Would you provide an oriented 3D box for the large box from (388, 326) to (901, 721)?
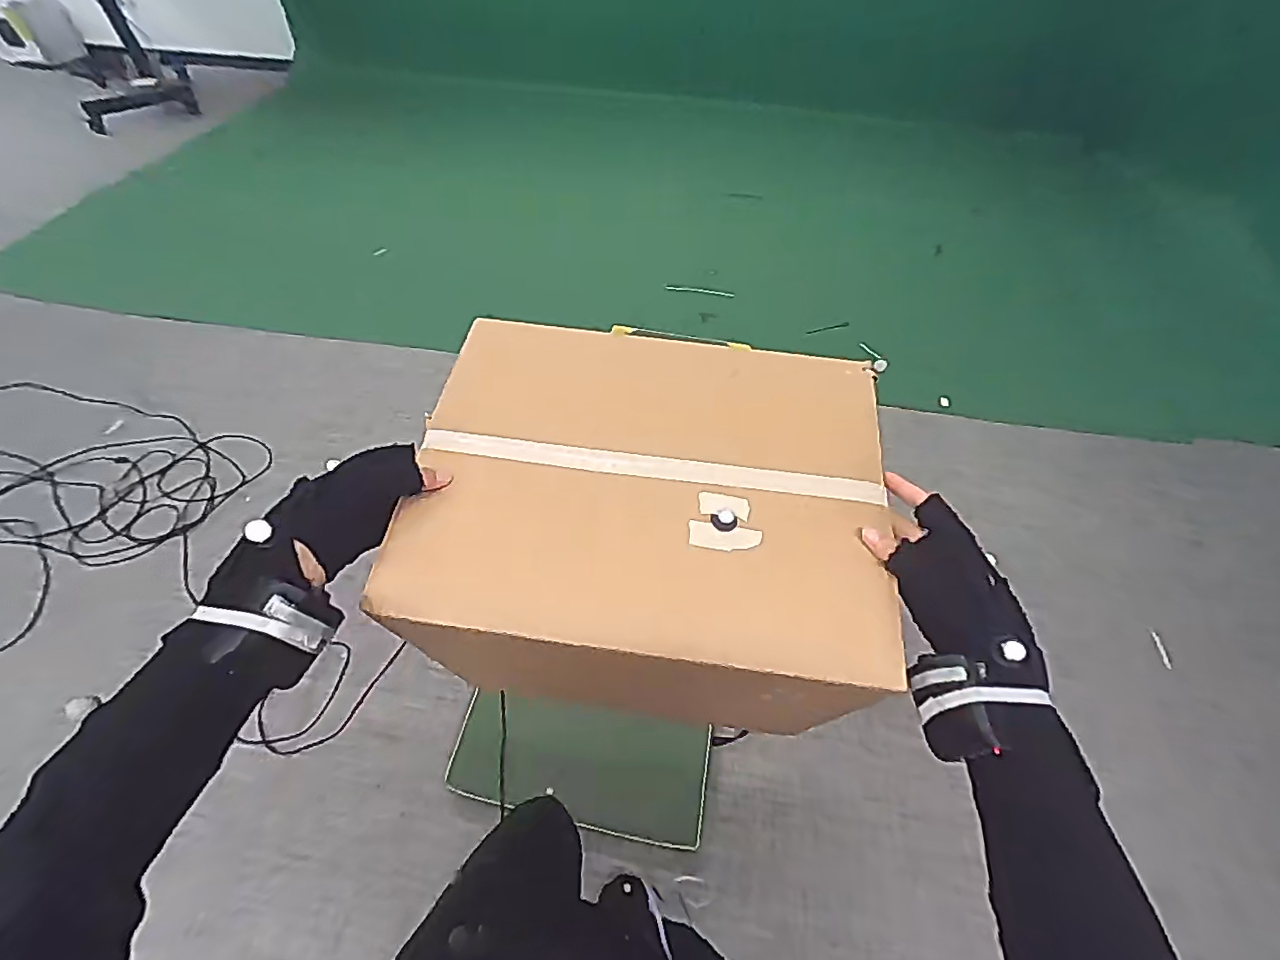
[{"bbox_3d":[0.011,0.066,0.612,0.408,0.320,0.320,8,60,2],"label":"large box"}]
